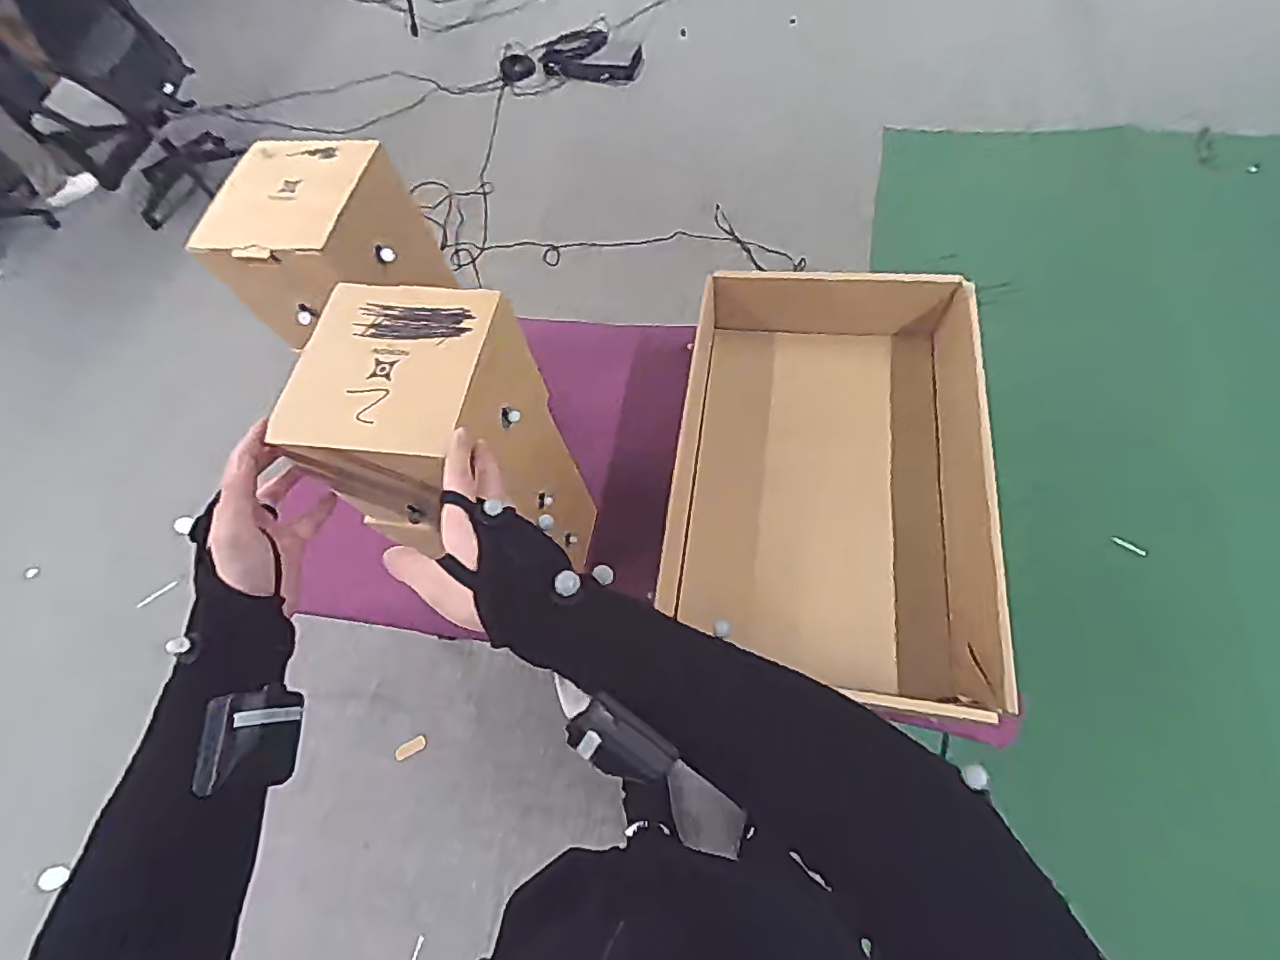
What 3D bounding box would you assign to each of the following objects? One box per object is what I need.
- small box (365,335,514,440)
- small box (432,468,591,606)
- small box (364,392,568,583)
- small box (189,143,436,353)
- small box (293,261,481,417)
[{"bbox_3d":[-0.339,-0.139,0.956,0.168,0.176,0.179,7,66,9],"label":"small box"},{"bbox_3d":[-0.181,0.084,0.829,0.168,0.176,0.179,8,66,10],"label":"small box"},{"bbox_3d":[-0.199,0.014,0.681,0.168,0.176,0.179,7,66,11],"label":"small box"},{"bbox_3d":[-0.377,-0.275,0.663,0.168,0.176,0.179,6,67,9],"label":"small box"},{"bbox_3d":[-0.360,-0.202,0.809,0.168,0.176,0.179,6,66,10],"label":"small box"}]
